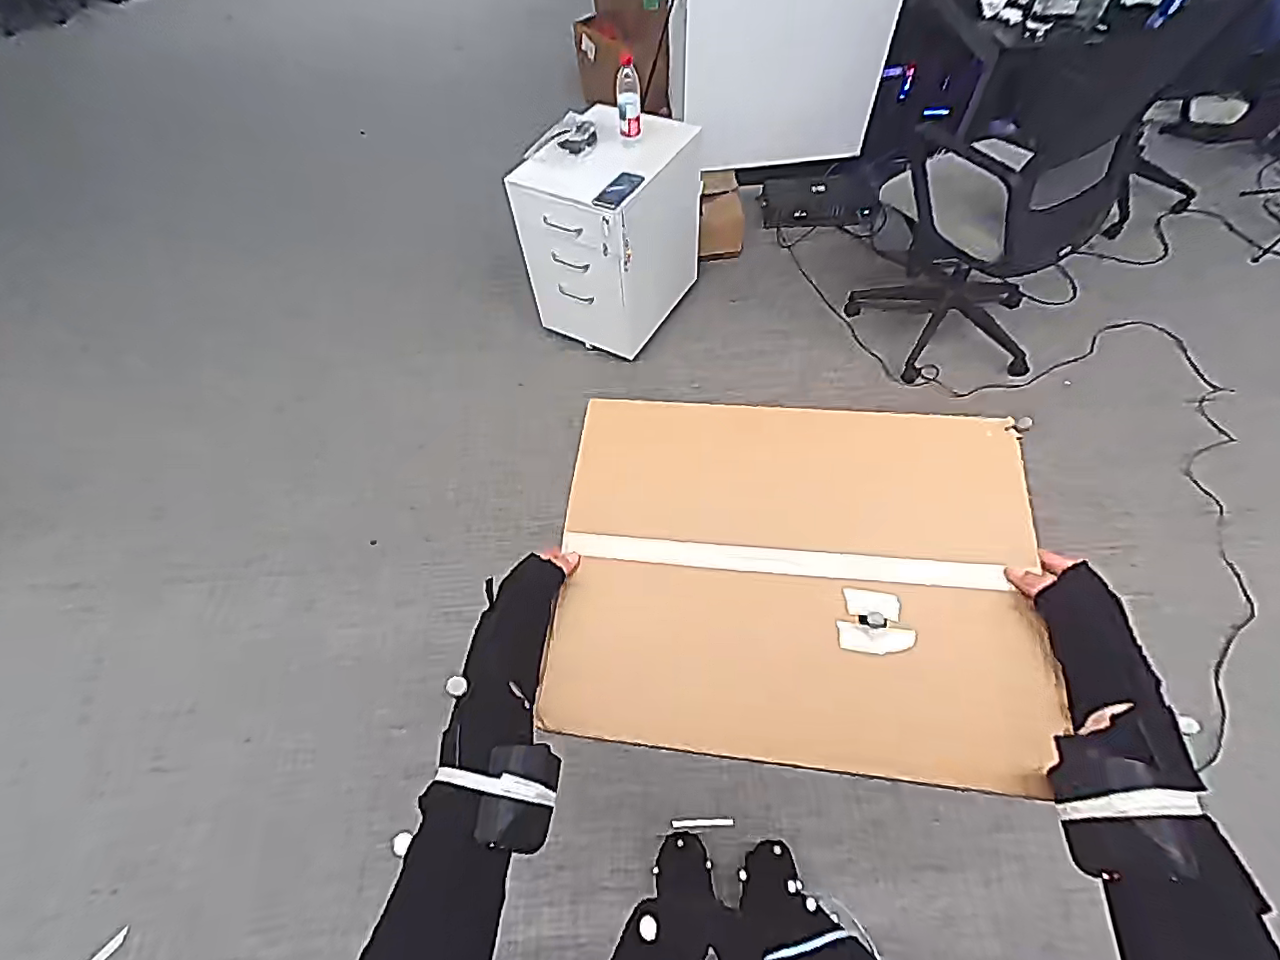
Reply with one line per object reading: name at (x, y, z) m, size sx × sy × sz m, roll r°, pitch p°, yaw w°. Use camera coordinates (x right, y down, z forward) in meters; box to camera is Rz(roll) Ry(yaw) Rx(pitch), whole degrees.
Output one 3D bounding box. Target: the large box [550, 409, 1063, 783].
large box at (0.146, 0.136, 0.618) m, size 0.408 × 0.320 × 0.320 m, roll 4°, pitch 67°, yaw 7°
